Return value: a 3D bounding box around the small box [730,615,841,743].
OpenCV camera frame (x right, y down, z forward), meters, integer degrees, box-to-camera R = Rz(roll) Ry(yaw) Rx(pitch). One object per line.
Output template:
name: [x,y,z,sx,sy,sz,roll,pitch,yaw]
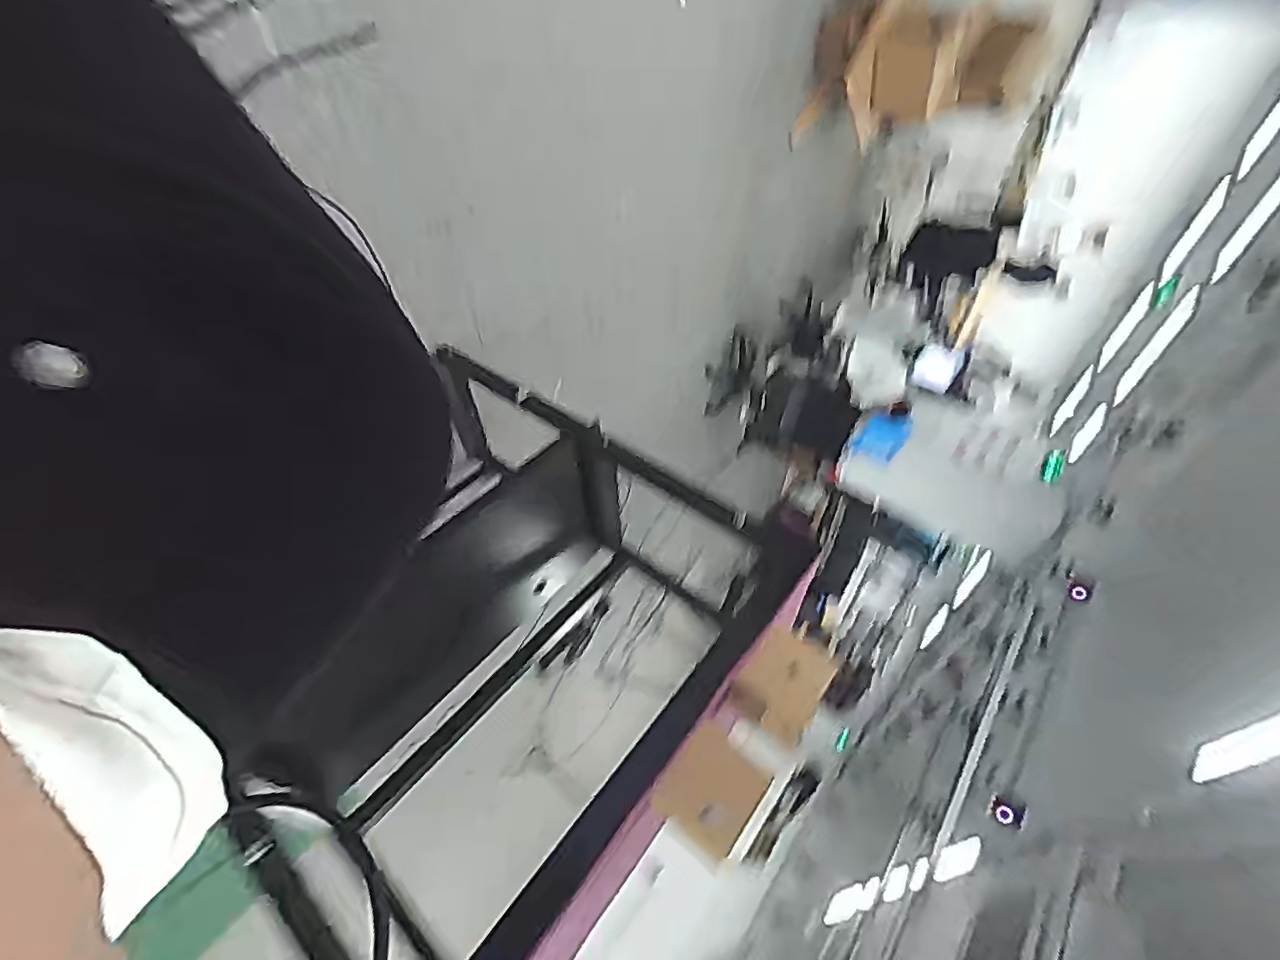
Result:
small box: [0.320,0.444,1.218,0.179,0.176,0.168,-43,151,-31]
